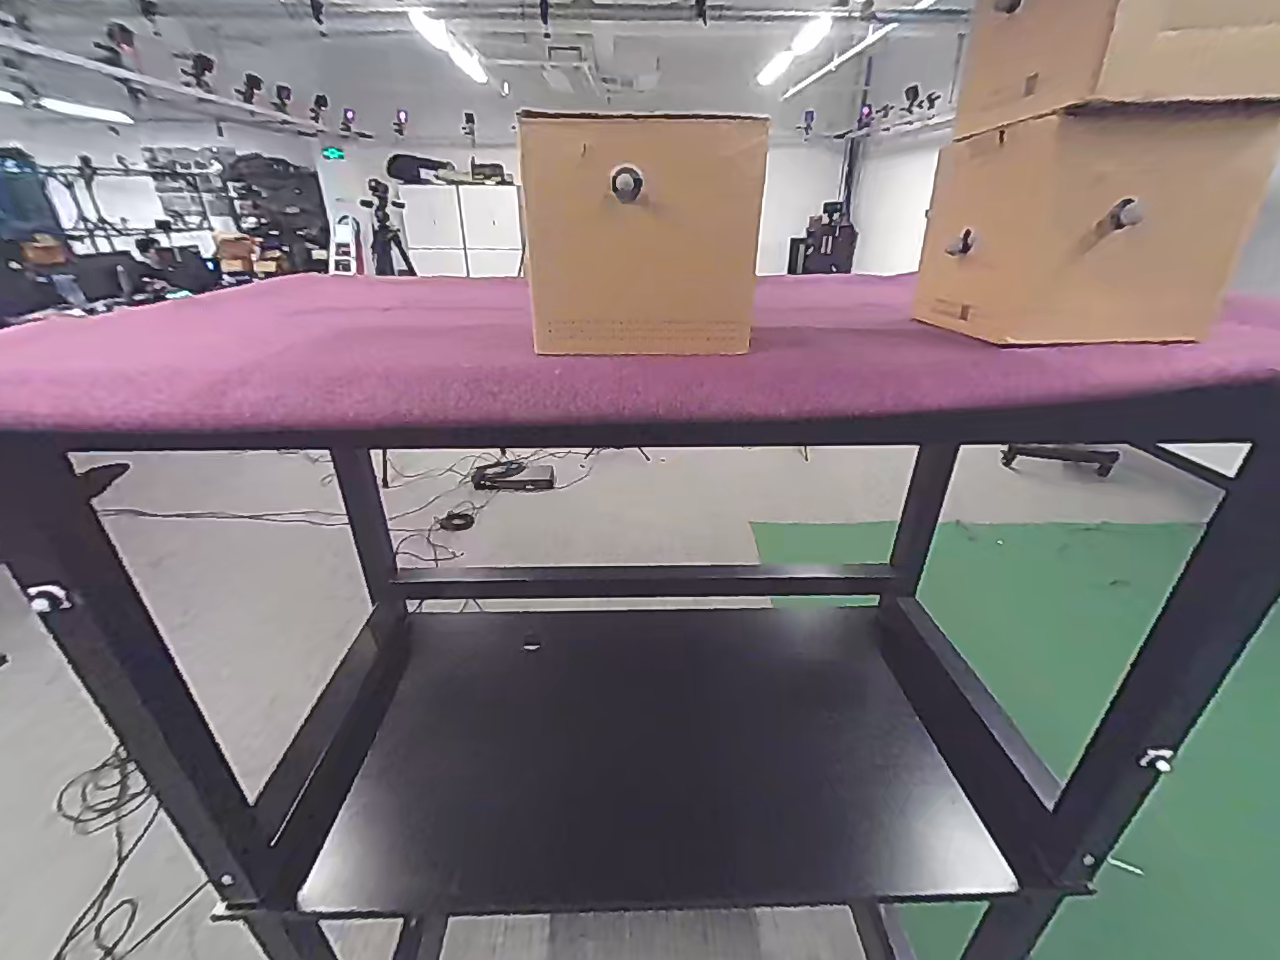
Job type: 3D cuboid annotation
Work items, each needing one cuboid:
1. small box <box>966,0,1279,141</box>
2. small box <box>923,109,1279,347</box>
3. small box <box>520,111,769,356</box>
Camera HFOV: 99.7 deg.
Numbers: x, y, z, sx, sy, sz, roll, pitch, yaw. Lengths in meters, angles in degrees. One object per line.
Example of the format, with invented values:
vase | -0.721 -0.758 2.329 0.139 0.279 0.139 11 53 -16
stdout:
small box | 0.381 -0.362 0.412 0.179 0.176 0.168 -1 24 0
small box | 0.383 -0.219 0.492 0.179 0.176 0.168 -2 25 0
small box | 0.003 -0.210 0.476 0.179 0.176 0.168 1 27 -1
